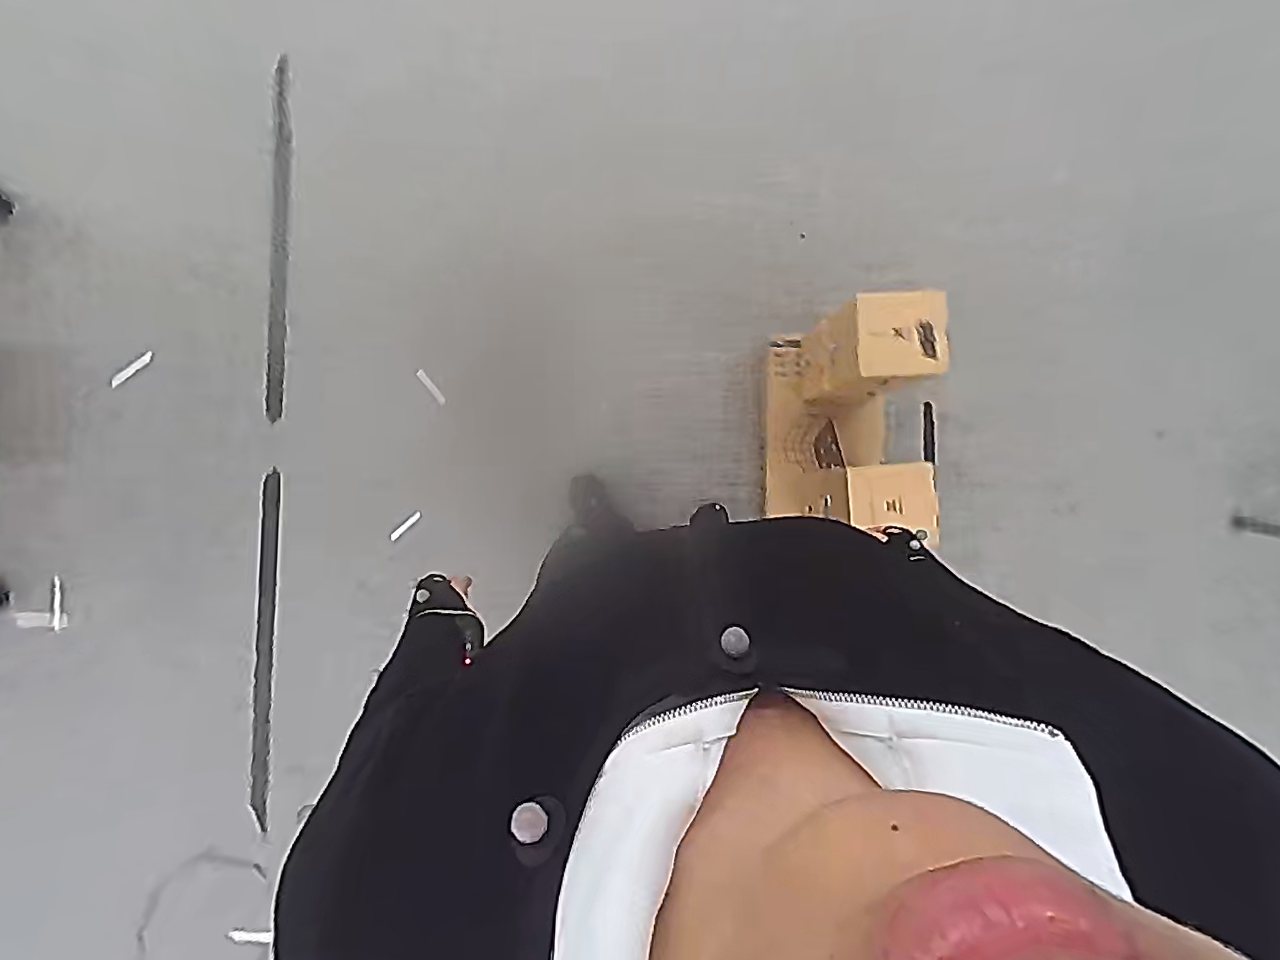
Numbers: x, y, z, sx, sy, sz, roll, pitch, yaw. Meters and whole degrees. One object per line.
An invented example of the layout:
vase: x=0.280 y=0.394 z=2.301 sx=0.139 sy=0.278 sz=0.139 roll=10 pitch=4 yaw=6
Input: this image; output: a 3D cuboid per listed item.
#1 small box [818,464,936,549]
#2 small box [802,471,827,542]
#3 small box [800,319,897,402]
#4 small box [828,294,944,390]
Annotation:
small box: x=0.496 y=0.053 z=1.149 sx=0.179 sy=0.176 sz=0.168 roll=-4 pitch=88 yaw=1
small box: x=0.498 y=0.065 z=1.313 sx=0.179 sy=0.176 sz=0.168 roll=-1 pitch=88 yaw=2
small box: x=0.500 y=-0.285 z=1.311 sx=0.179 sy=0.176 sz=0.168 roll=1 pitch=90 yaw=1
small box: x=0.515 y=-0.287 z=1.147 sx=0.179 sy=0.176 sz=0.168 roll=-1 pitch=90 yaw=1
